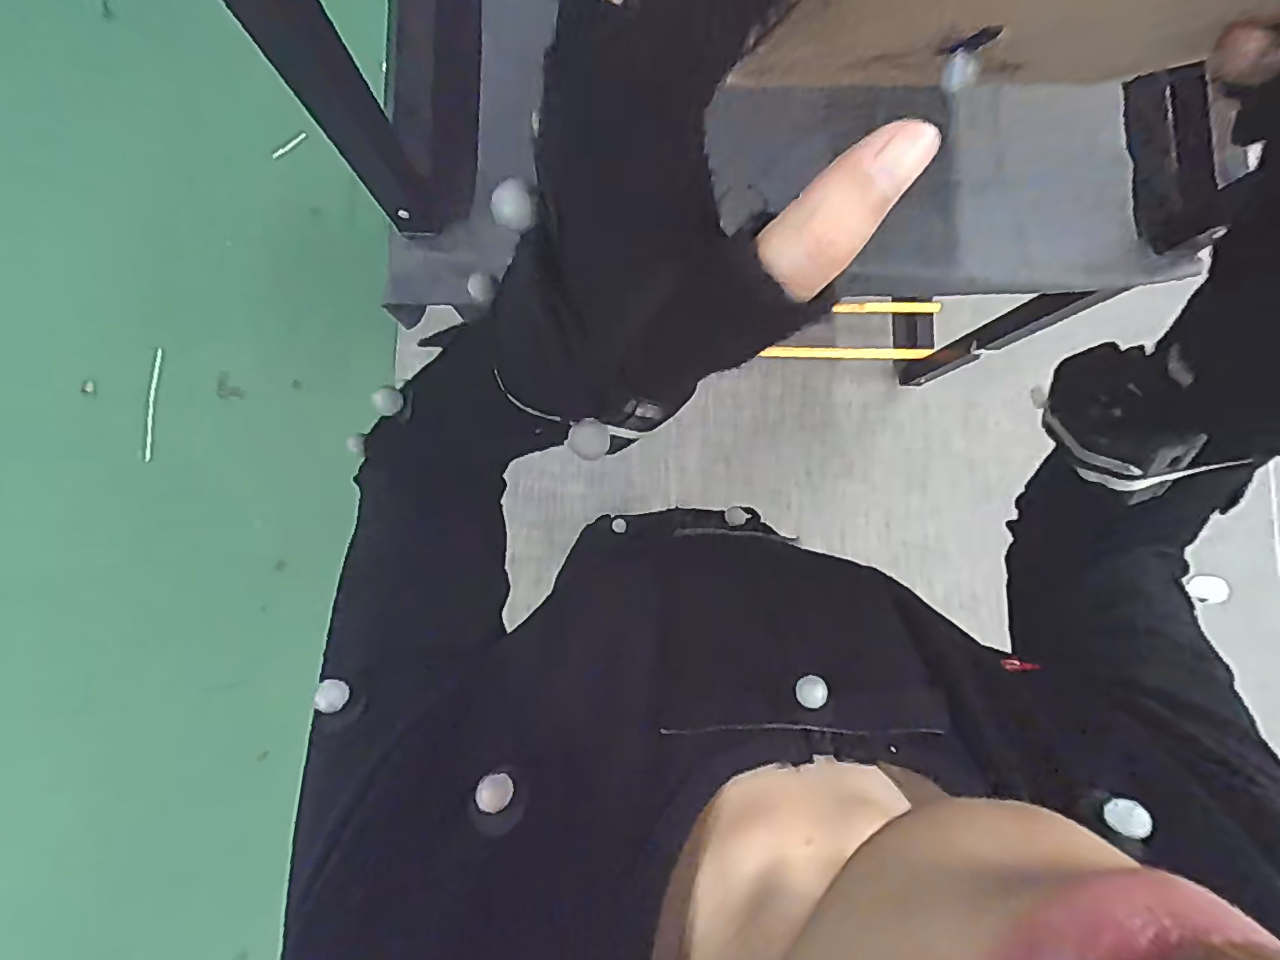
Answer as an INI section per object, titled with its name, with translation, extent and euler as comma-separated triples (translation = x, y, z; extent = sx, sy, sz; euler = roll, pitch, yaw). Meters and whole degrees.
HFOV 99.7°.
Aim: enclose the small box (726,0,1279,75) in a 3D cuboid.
[small box]
translation = 0.117, -0.212, 0.114
extent = 0.168, 0.176, 0.179
euler = -2, 118, -3
